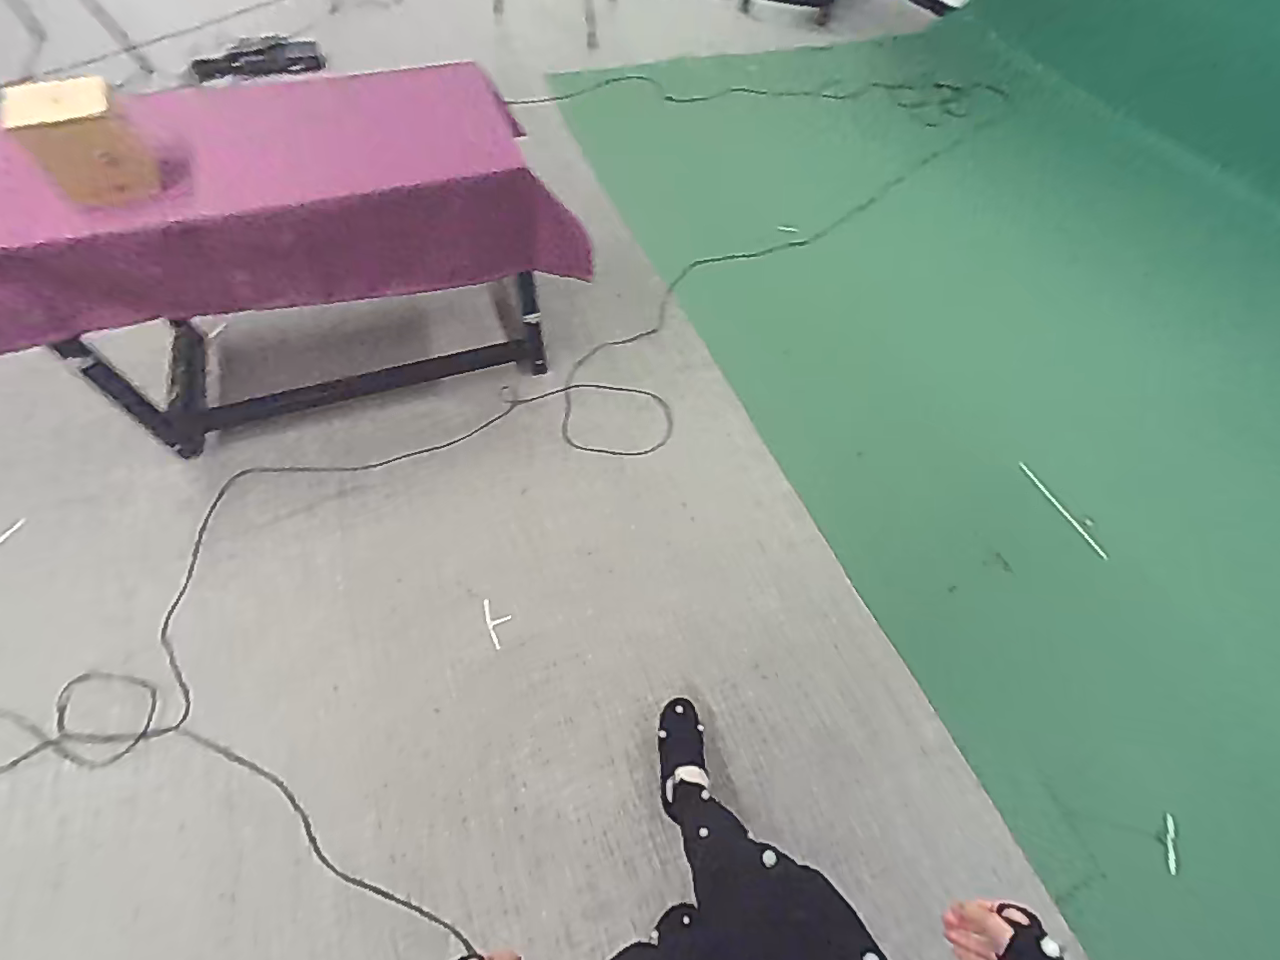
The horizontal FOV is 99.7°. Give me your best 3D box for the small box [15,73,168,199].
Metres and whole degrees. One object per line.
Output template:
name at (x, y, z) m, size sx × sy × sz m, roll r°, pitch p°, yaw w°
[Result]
small box at (-1.156, -0.724, 1.154) m, size 0.168 × 0.176 × 0.179 m, roll -22°, pitch 61°, yaw -17°
